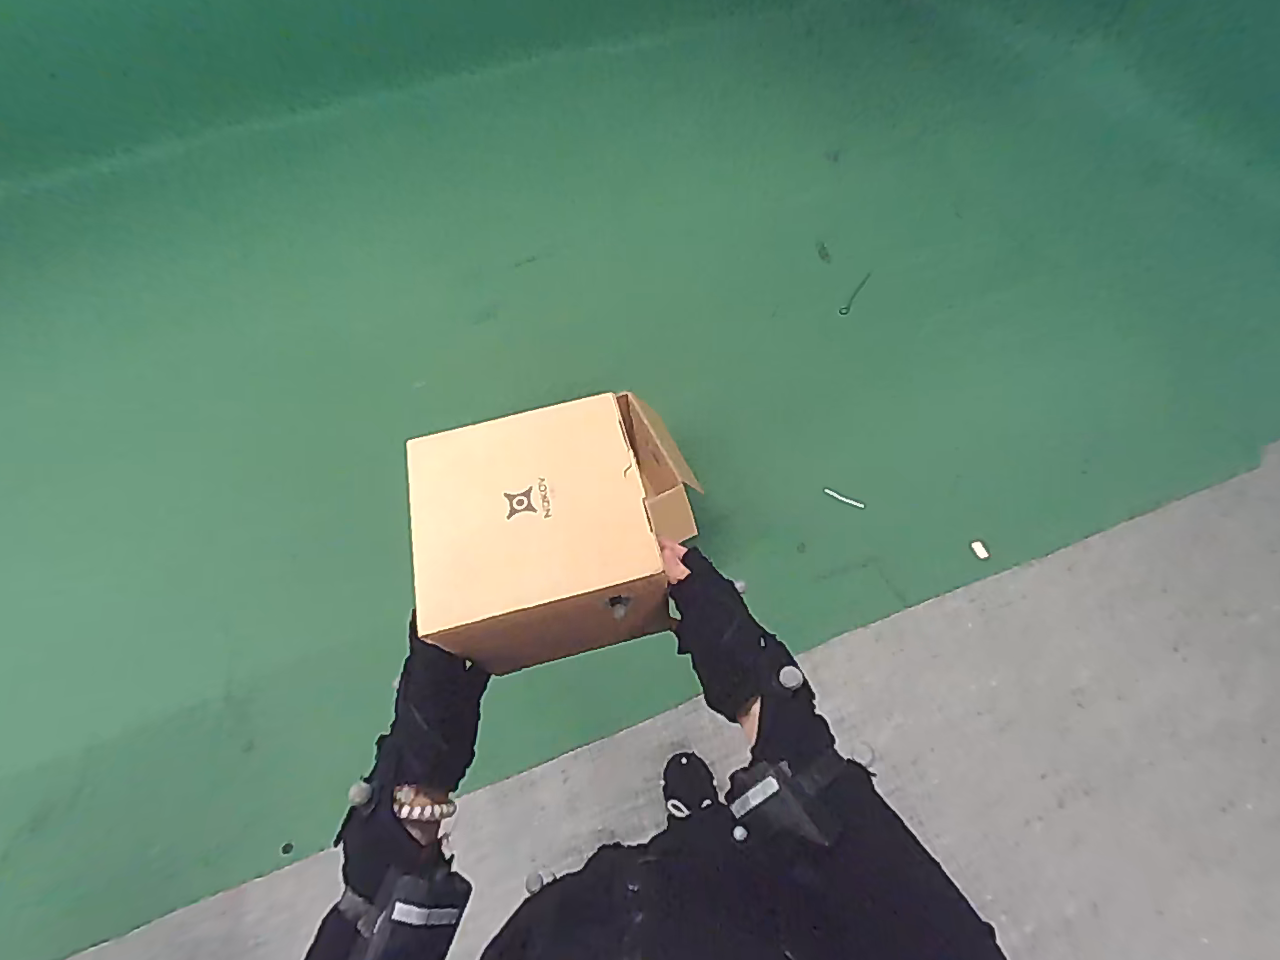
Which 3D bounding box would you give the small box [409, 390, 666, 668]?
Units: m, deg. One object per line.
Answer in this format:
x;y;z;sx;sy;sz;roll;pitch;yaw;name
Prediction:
-0.081;0.053;0.477;0.179;0.176;0.168;-14;61;-4;small box
